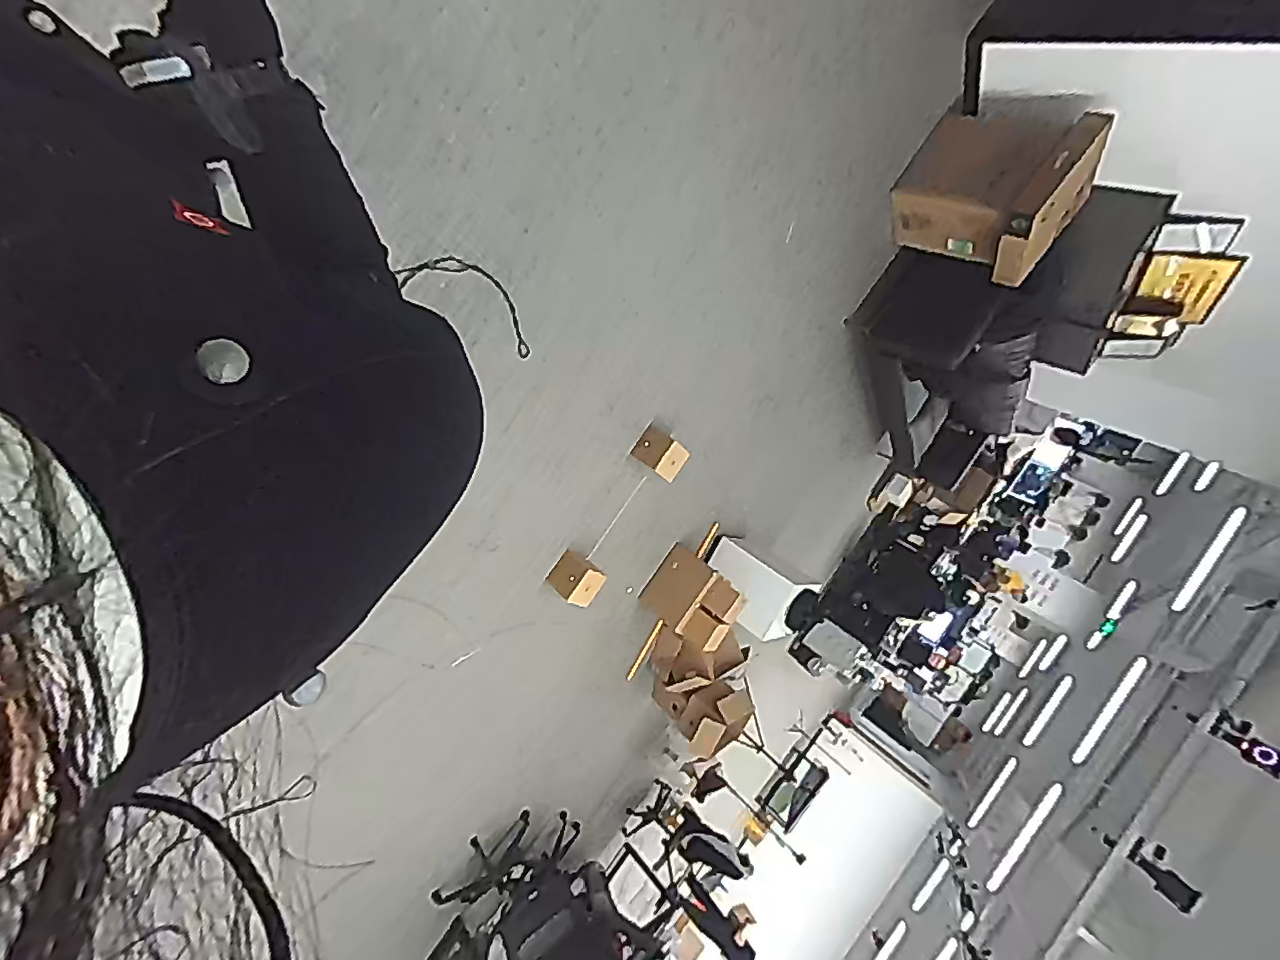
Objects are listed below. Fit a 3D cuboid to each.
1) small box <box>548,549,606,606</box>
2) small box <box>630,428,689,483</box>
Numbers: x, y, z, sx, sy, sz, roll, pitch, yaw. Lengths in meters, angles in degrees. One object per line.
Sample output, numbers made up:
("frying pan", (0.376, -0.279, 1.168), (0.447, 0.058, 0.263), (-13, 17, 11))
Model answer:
("small box", (-0.297, 0.449, 2.492), (0.179, 0.176, 0.168), (-55, 145, -1))
("small box", (0.088, -0.117, 2.491), (0.168, 0.176, 0.179), (-55, 146, -1))
